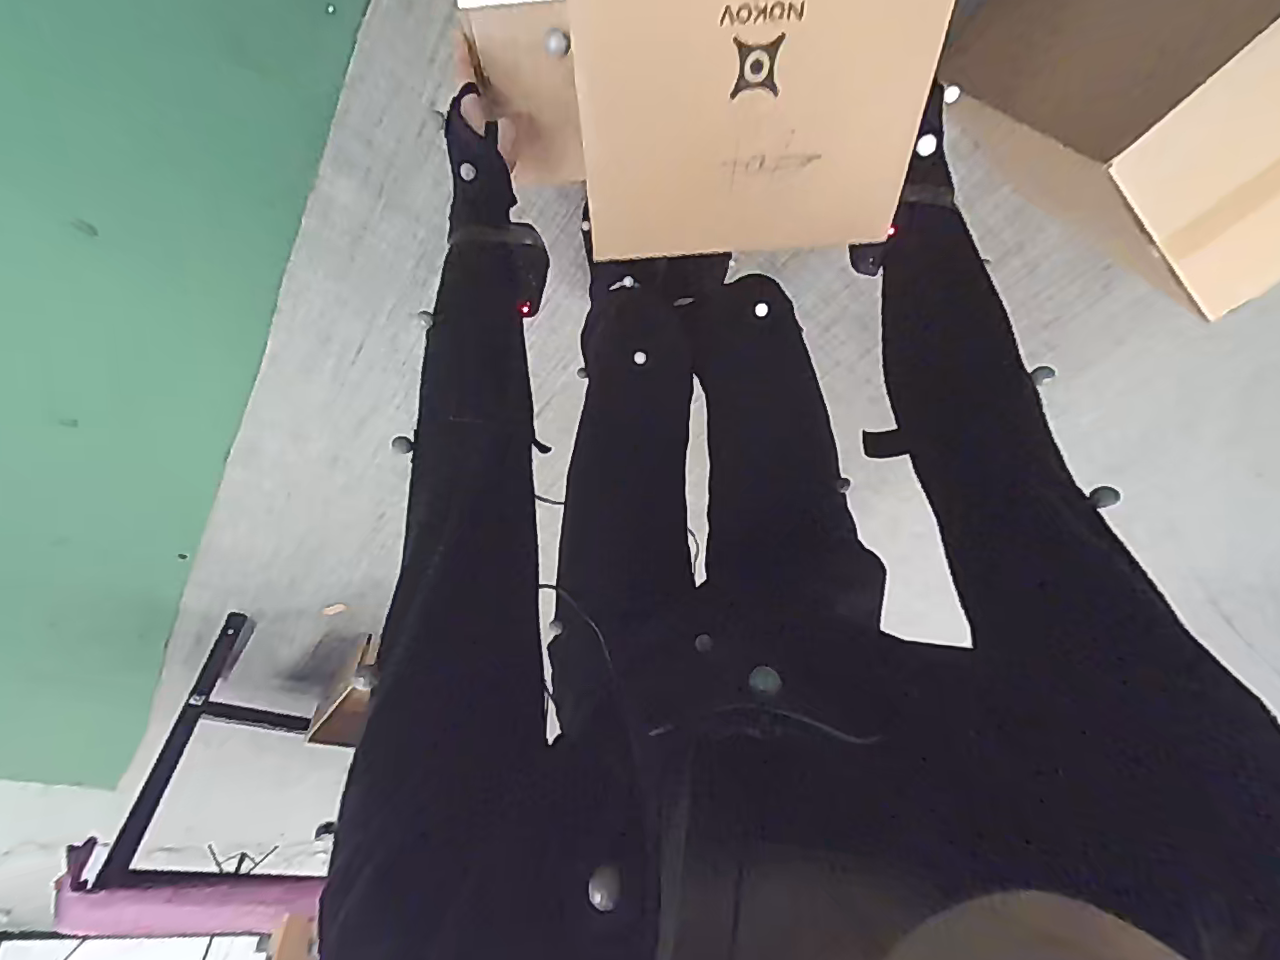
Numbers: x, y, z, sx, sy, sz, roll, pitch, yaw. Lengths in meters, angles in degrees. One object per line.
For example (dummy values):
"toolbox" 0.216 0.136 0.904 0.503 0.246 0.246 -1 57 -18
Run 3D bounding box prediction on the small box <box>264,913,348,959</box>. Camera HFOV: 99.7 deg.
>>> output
"small box" -0.919 1.295 1.472 0.168 0.176 0.179 24 130 -26

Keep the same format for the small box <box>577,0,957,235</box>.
"small box" 0.050 -0.254 0.290 0.168 0.176 0.179 -3 136 0
